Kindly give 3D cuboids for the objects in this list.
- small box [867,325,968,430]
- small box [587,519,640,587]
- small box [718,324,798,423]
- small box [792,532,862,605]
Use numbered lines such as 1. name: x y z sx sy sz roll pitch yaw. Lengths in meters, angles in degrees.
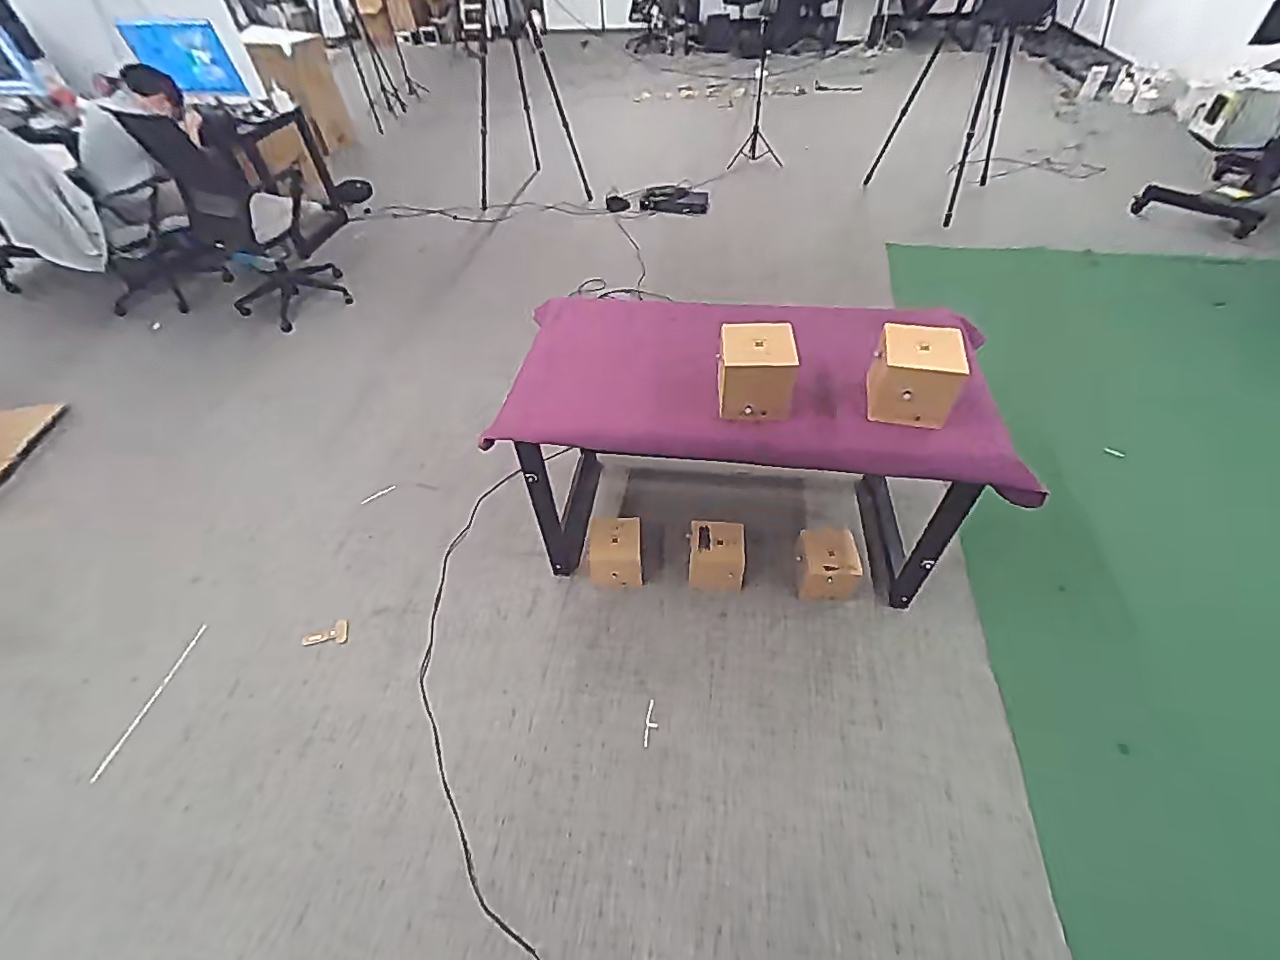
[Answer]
1. small box: 0.641 -0.238 1.268 0.168 0.176 0.179 9 48 12
2. small box: -0.084 0.253 1.838 0.168 0.176 0.179 -2 48 2
3. small box: 0.277 -0.258 1.303 0.168 0.176 0.179 1 48 5
4. small box: 0.603 0.290 1.770 0.168 0.176 0.179 0 48 3
